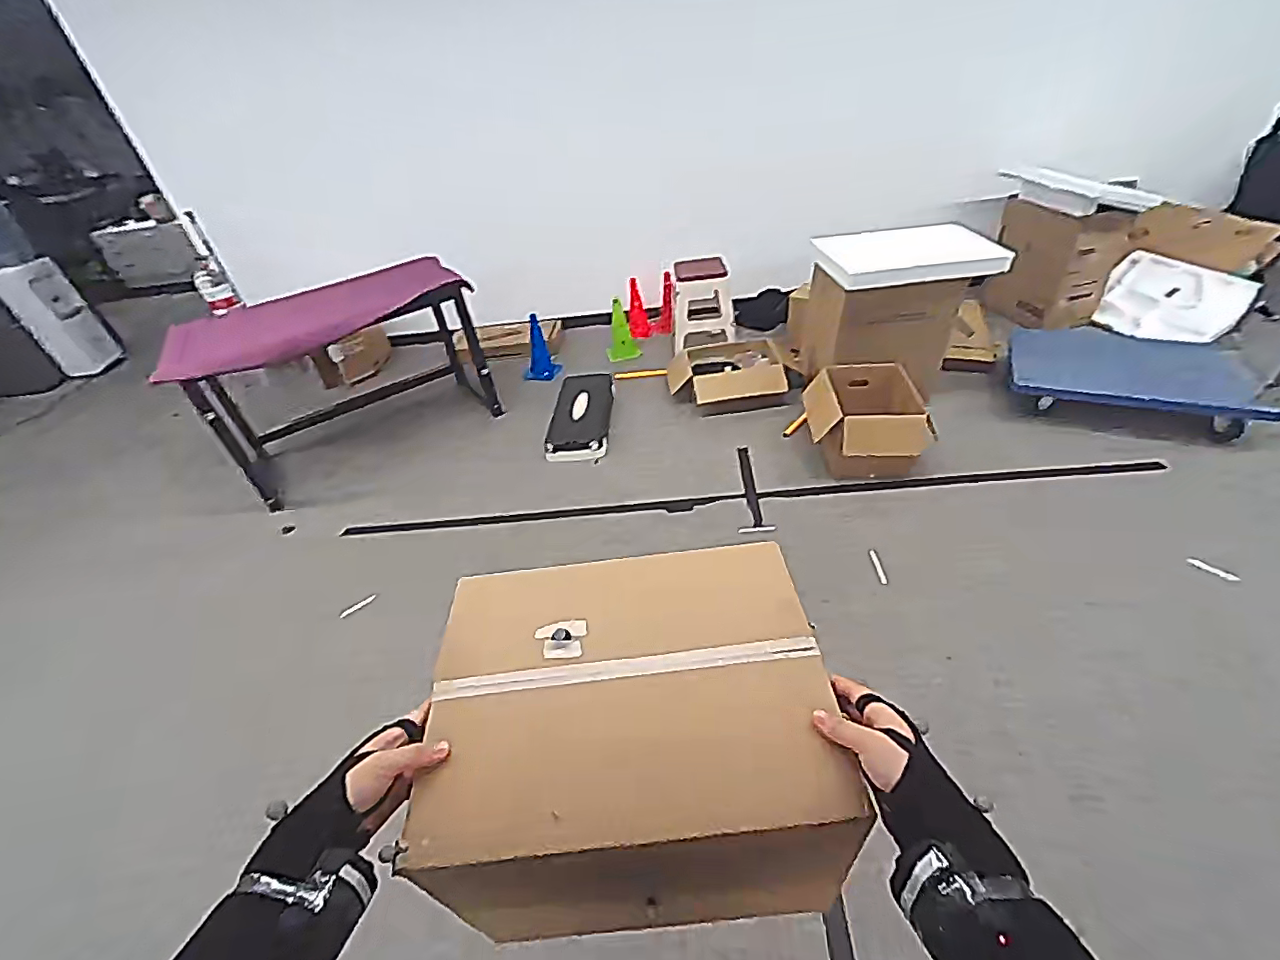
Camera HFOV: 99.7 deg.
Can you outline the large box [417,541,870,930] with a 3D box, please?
[{"bbox_3d":[0.010,0.315,0.672,0.408,0.320,0.320,-8,39,2],"label":"large box"}]
